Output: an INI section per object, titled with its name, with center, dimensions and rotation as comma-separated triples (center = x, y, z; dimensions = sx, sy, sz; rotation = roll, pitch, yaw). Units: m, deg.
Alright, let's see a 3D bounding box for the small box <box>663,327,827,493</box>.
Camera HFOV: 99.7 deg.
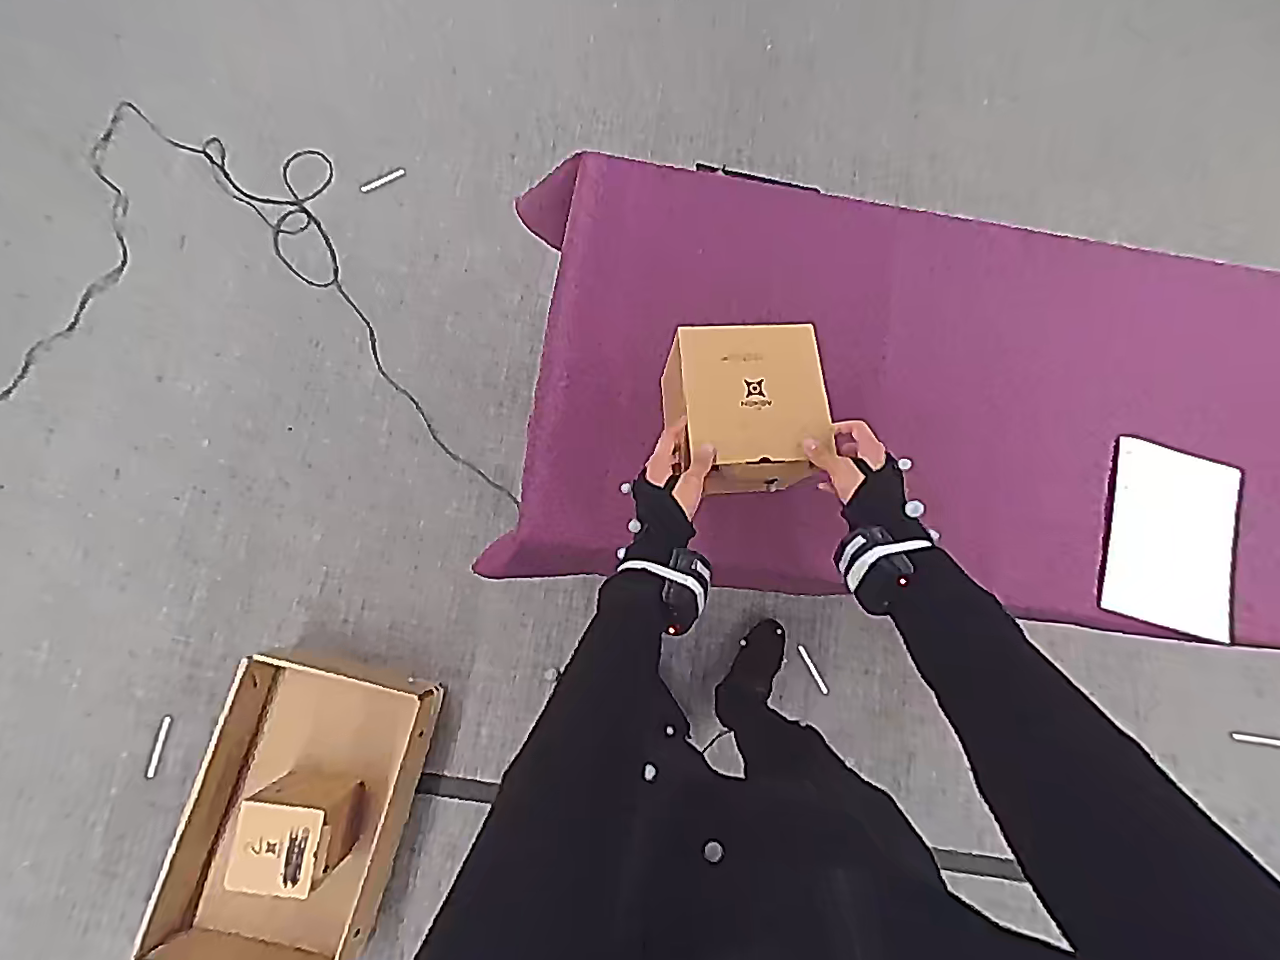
[small box]
center = 0.123, -0.080, 0.700
dimensions = 0.168, 0.176, 0.179
rotation = -3, 79, -5
